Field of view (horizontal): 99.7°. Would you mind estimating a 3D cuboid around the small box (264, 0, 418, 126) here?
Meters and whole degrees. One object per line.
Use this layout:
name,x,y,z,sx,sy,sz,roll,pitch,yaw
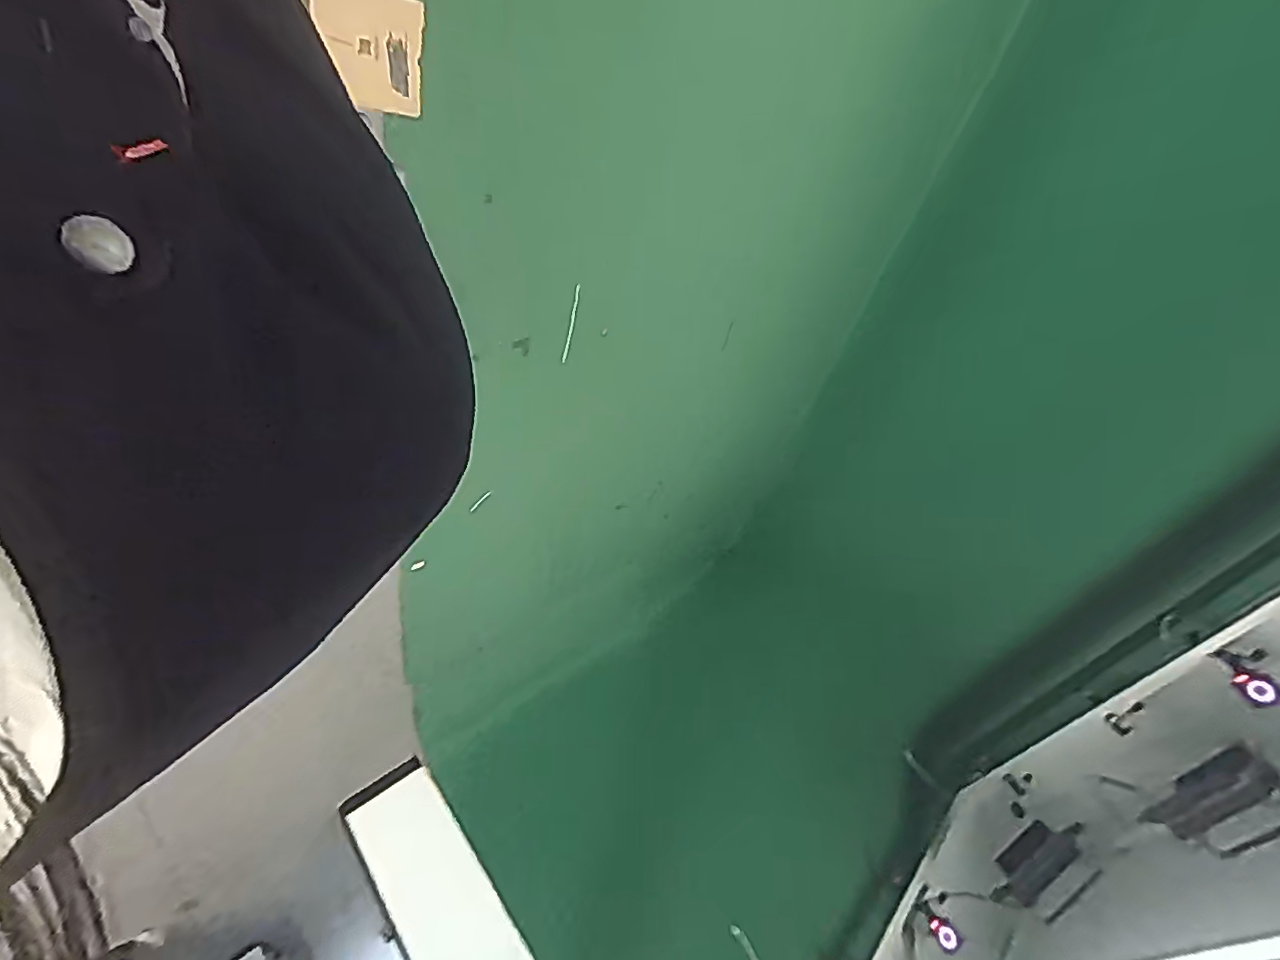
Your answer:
small box,-0.499,-0.725,0.904,0.179,0.176,0.168,-19,140,-43
